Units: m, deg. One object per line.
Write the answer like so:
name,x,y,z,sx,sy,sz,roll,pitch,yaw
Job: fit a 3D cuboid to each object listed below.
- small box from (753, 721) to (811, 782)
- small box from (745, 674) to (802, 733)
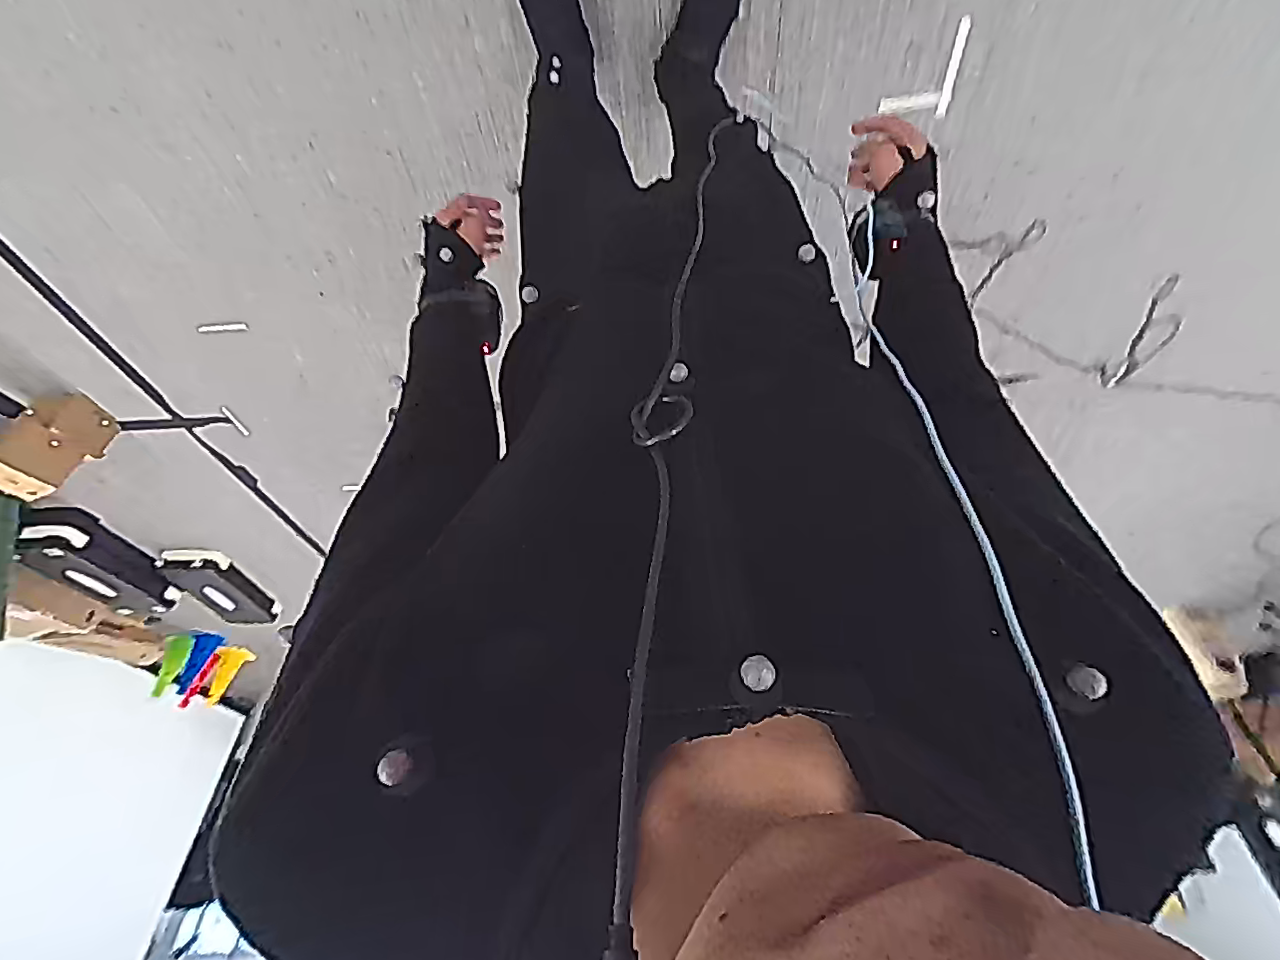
small box,0.504,0.974,1.943,0.168,0.176,0.179,-4,142,4
small box,0.496,0.839,2.037,0.168,0.176,0.179,-1,141,1
